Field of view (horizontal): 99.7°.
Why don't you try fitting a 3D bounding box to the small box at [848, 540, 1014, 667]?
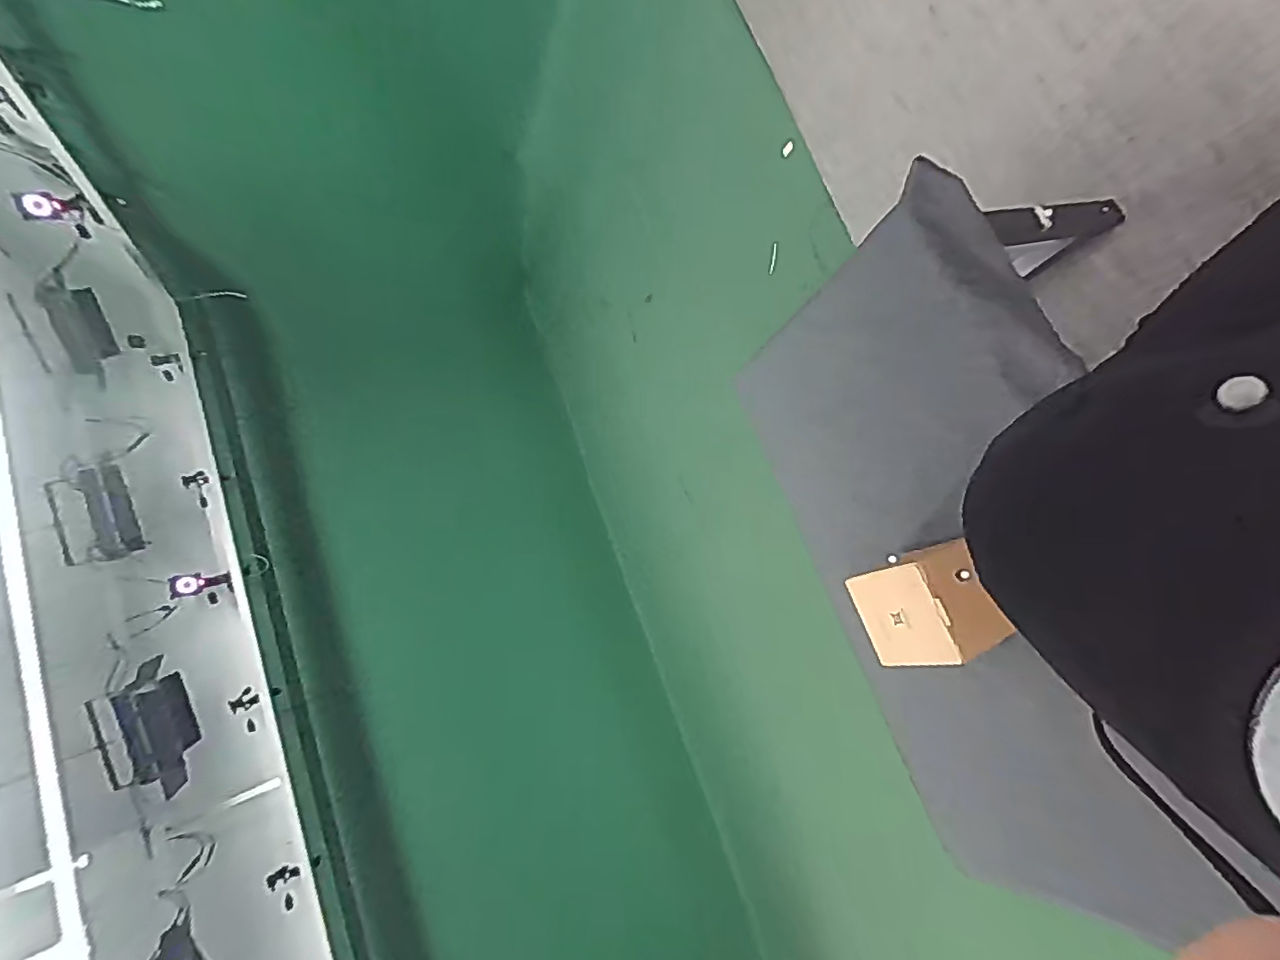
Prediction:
[{"bbox_3d":[0.516,0.218,0.956,0.168,0.176,0.179,70,156,12],"label":"small box"}]
